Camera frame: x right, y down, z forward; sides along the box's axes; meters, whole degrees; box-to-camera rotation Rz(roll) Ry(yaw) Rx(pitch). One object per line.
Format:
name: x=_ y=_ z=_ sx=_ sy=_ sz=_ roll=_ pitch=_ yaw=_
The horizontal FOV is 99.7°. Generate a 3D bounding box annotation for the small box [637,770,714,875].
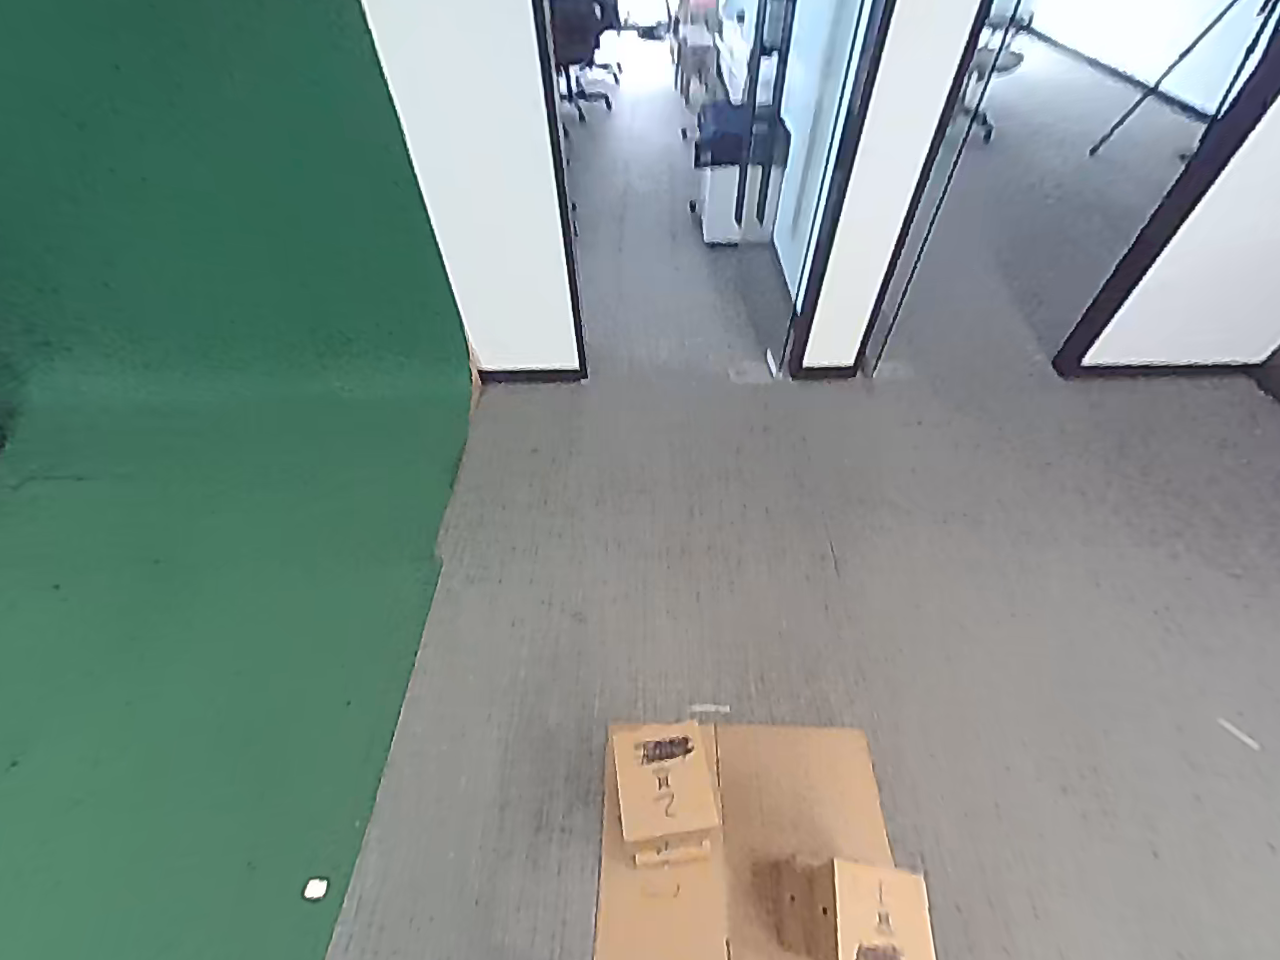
small box: x=0.071 y=0.798 z=1.262 sx=0.168 sy=0.176 sz=0.179 roll=-5 pitch=49 yaw=-3

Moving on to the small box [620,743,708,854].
small box: x=0.048 y=0.679 z=1.147 sx=0.168 sy=0.176 sz=0.179 roll=-4 pitch=49 yaw=-3

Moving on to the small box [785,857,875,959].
small box: x=0.407 y=0.923 z=1.144 sx=0.168 sy=0.176 sz=0.179 roll=4 pitch=49 yaw=5

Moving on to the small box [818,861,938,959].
small box: x=0.431 y=0.836 z=0.999 sx=0.168 sy=0.176 sz=0.179 roll=8 pitch=49 yaw=8
